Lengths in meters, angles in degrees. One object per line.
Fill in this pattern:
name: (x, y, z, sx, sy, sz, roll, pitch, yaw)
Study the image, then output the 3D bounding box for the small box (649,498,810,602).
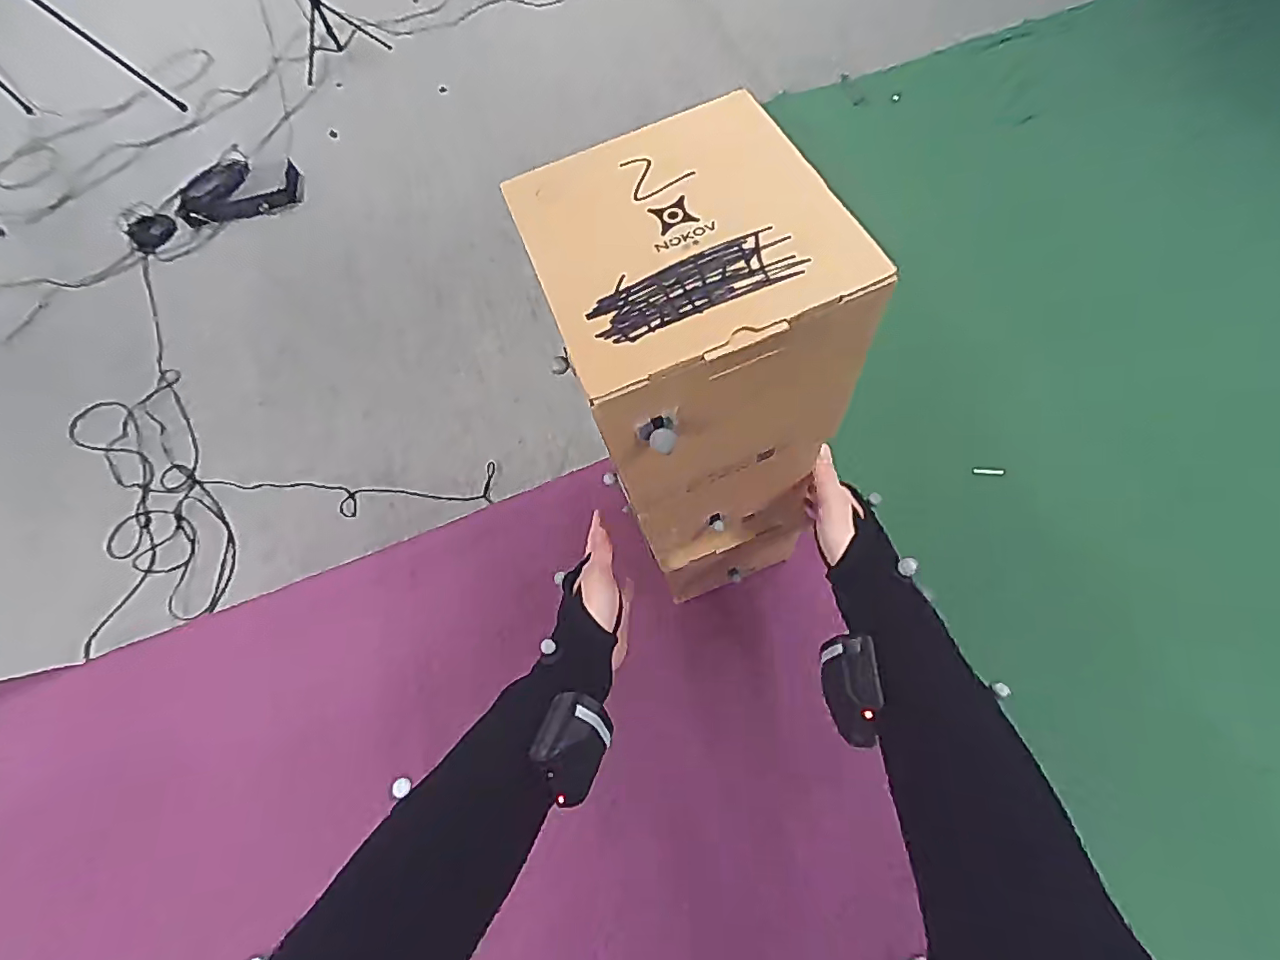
small box: (0.082, 0.027, 0.659, 0.168, 0.176, 0.179, -22, 65, -1)

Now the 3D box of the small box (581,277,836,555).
small box: (0.056, -0.051, 0.519, 0.168, 0.176, 0.179, -20, 66, -2)
